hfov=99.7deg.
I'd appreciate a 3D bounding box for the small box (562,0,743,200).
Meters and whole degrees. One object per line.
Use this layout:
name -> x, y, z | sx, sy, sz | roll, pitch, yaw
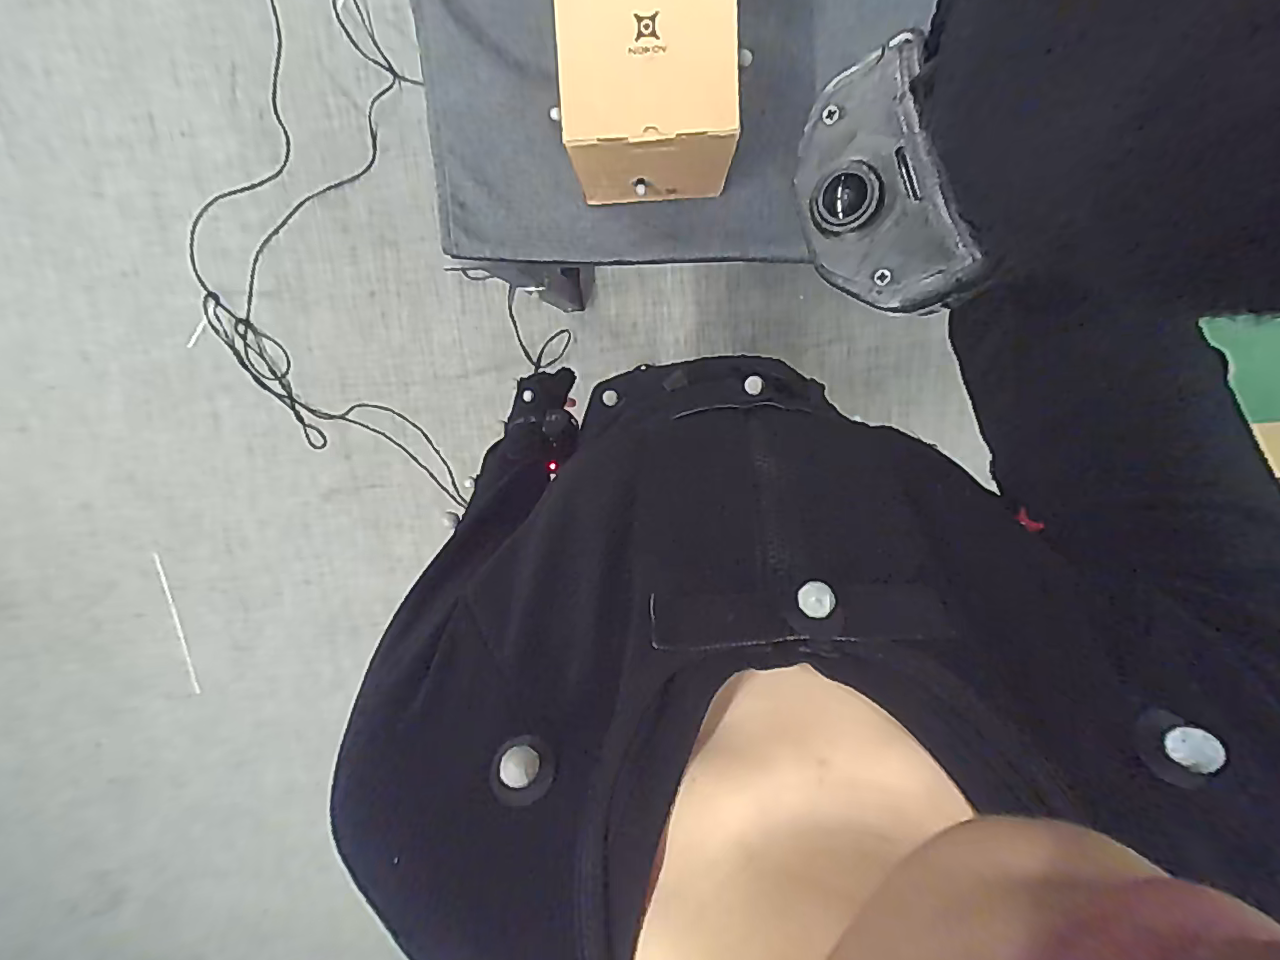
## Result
small box -> 0.013, -0.420, 0.570 | 0.168, 0.176, 0.179 | -3, 100, 3
